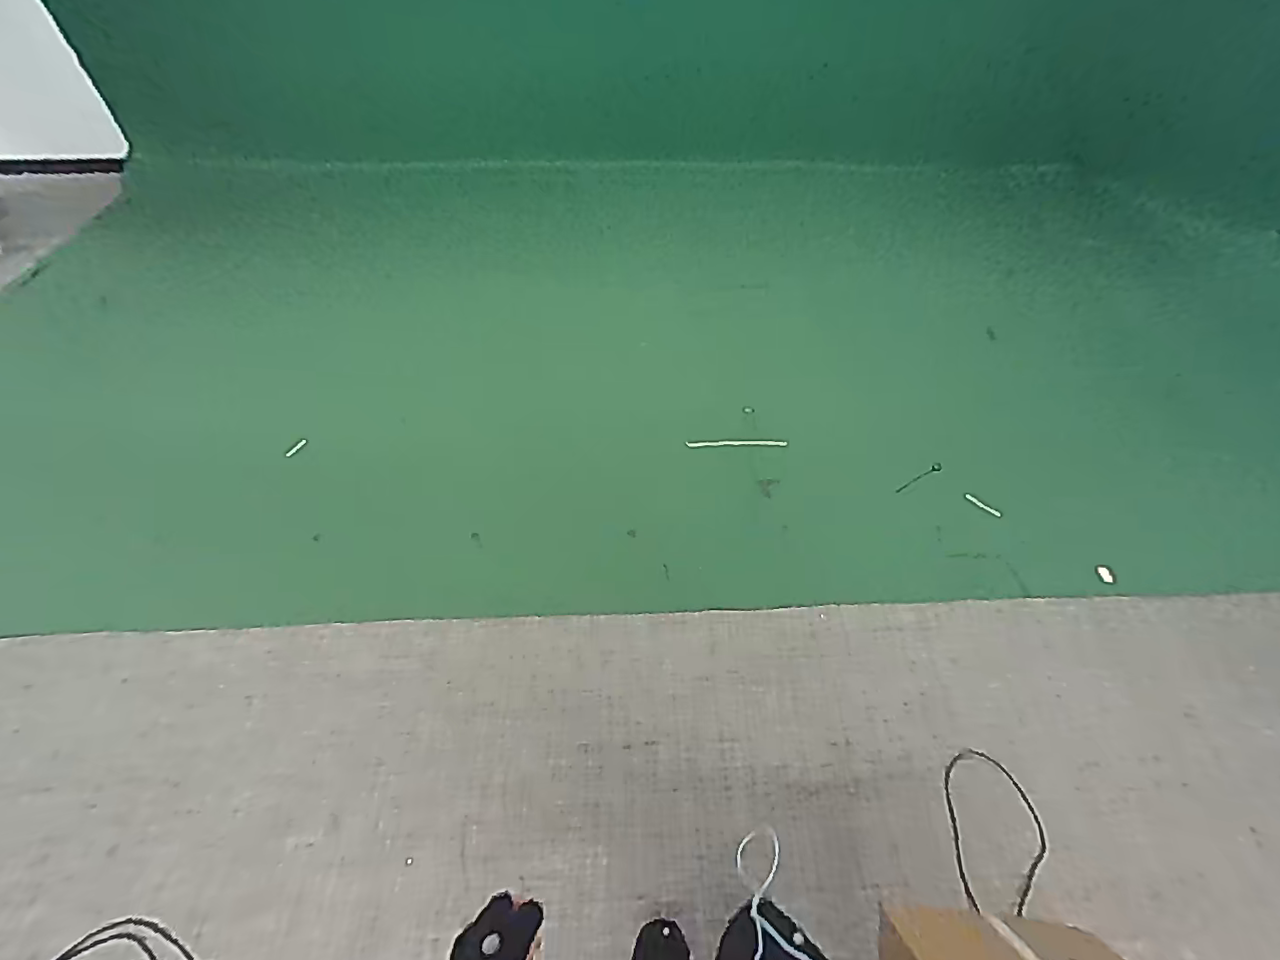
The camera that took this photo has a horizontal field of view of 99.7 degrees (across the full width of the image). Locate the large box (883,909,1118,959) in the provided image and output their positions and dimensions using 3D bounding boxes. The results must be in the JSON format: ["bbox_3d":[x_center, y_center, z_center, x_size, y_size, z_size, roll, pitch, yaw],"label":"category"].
[{"bbox_3d":[0.500,0.779,0.595,0.320,0.408,0.320,6,80,4],"label":"large box"}]
